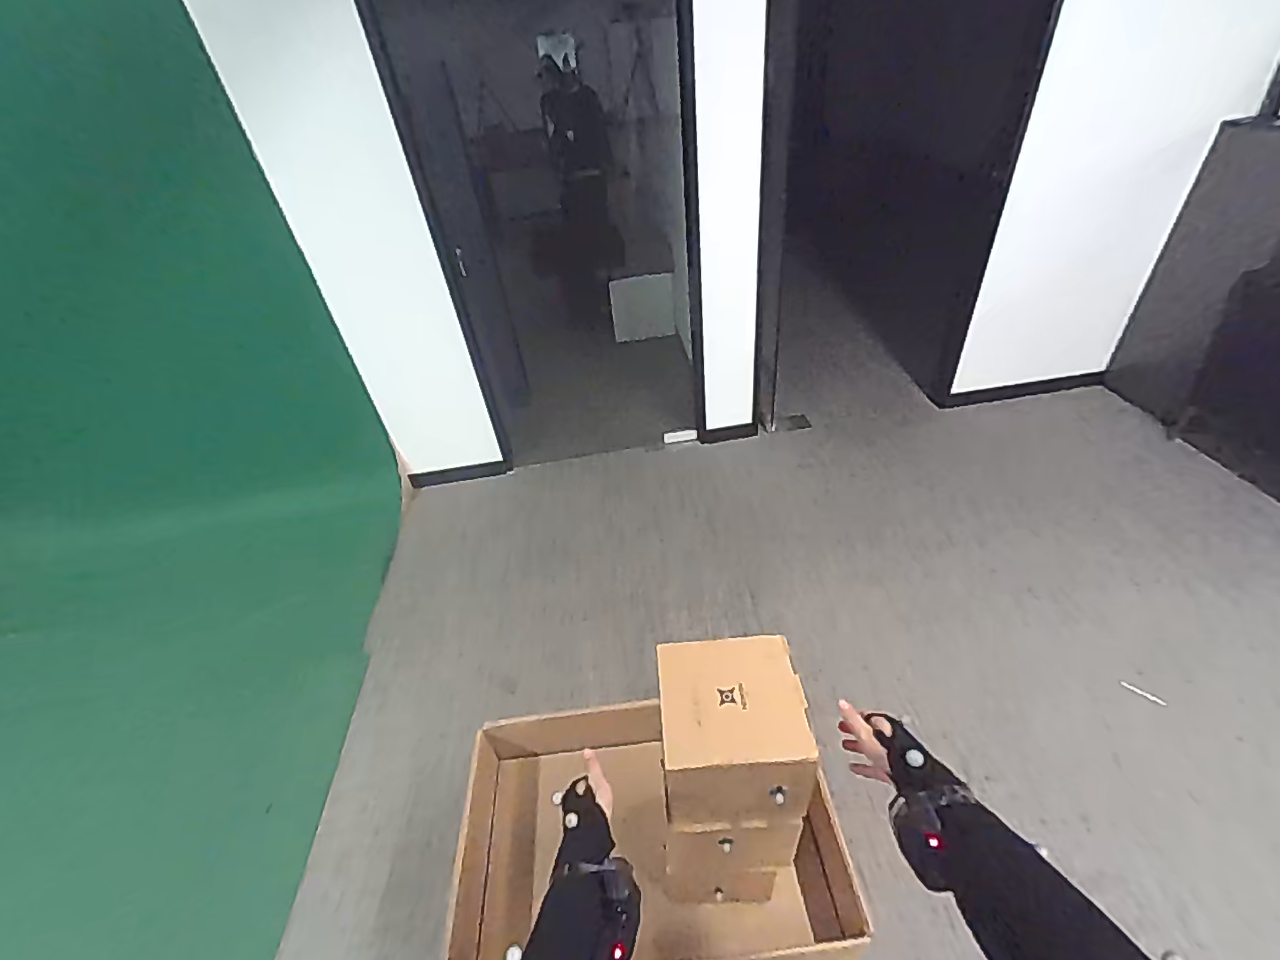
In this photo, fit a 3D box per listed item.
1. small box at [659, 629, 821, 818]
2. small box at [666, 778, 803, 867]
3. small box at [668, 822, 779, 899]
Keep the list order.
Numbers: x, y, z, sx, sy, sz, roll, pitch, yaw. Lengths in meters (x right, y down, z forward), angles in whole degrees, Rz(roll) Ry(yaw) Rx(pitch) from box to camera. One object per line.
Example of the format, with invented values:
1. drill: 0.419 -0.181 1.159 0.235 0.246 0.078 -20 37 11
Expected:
1. small box: 0.120 0.319 0.708 0.179 0.176 0.168 -6 38 3
2. small box: 0.131 0.452 0.802 0.179 0.176 0.168 -5 39 3
3. small box: 0.134 0.579 0.906 0.168 0.176 0.179 -4 39 4
